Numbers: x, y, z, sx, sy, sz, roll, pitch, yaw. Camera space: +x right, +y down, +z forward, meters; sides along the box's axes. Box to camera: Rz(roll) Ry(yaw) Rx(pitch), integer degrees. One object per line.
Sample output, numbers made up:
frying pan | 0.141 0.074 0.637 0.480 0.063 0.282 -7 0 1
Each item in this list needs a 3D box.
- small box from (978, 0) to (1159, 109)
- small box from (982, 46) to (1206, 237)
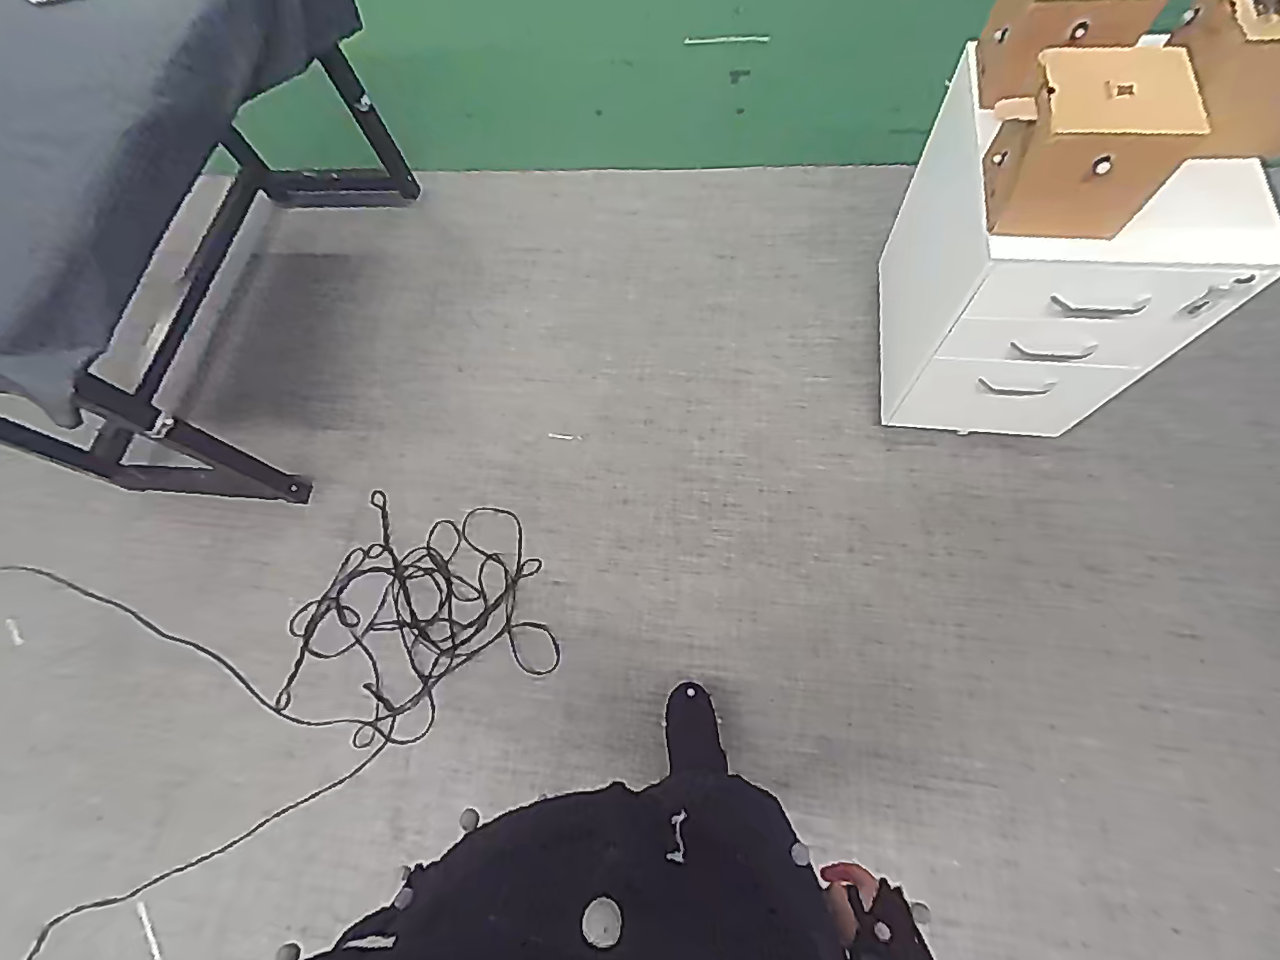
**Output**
small box | 0.665 -0.725 0.863 0.179 0.176 0.168 7 71 8
small box | 0.621 -0.470 0.767 0.179 0.176 0.168 6 69 9
